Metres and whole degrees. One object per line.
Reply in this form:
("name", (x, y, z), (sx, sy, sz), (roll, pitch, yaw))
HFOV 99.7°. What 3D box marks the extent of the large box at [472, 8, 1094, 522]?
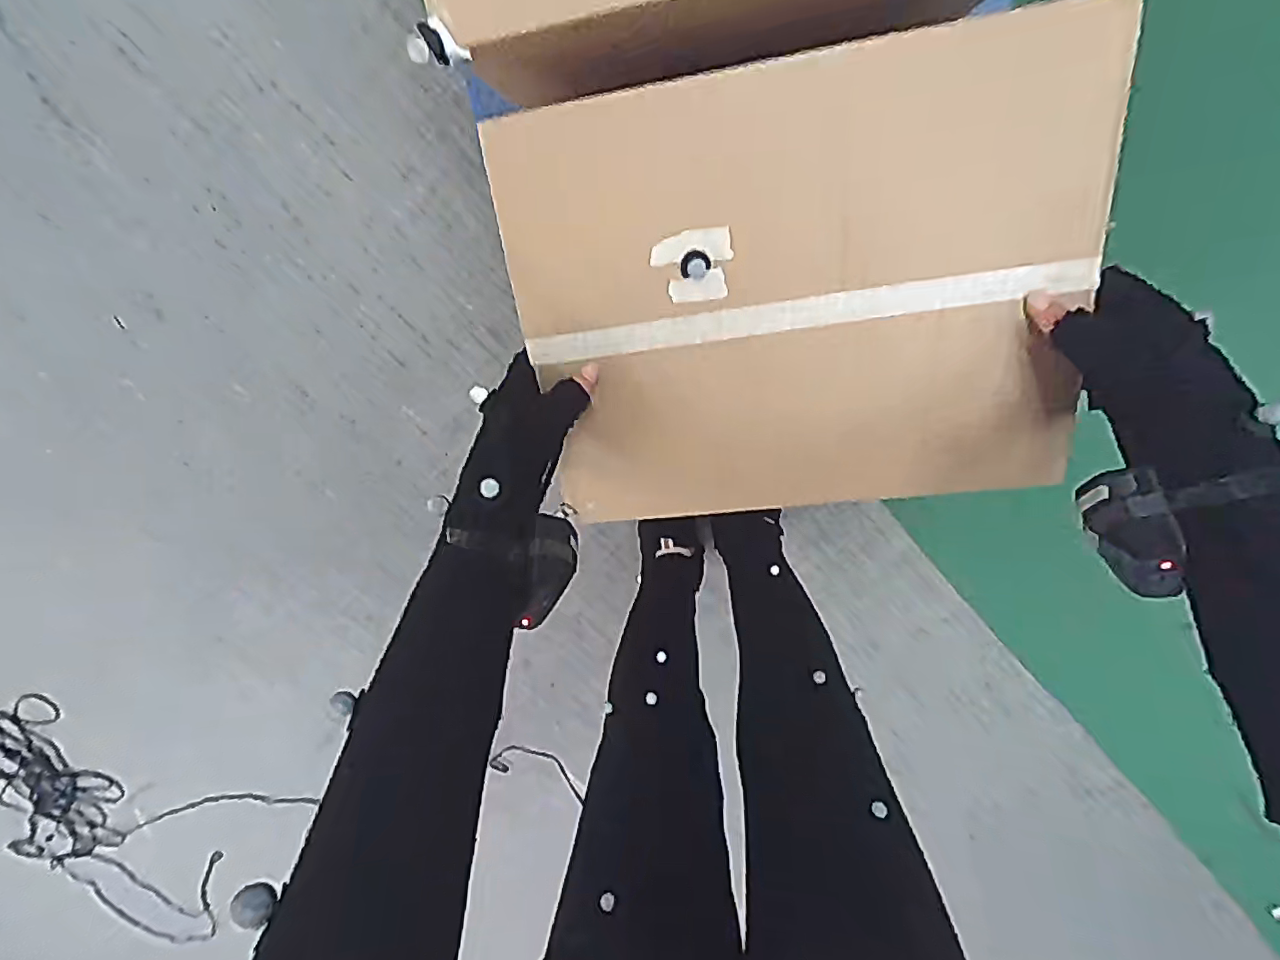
("large box", (0.115, -0.179, 0.540), (0.408, 0.320, 0.320), (-5, 112, 10))
